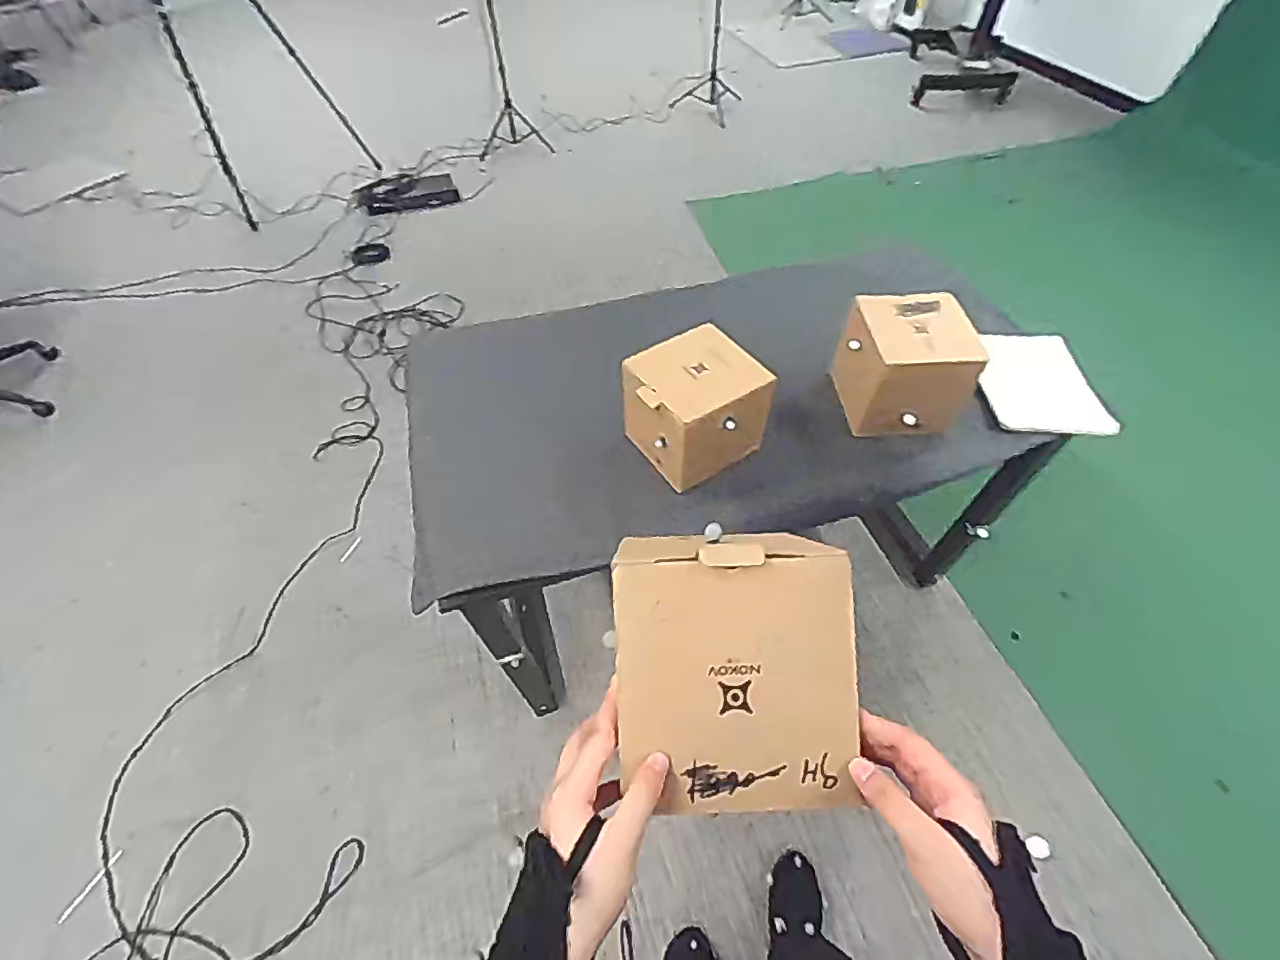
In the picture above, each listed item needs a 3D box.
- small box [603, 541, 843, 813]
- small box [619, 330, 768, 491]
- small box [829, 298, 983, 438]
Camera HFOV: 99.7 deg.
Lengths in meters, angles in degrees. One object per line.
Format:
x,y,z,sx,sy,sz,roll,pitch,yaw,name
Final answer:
0.057,0.145,0.461,0.168,0.176,0.179,-4,89,0,small box
0.084,-0.111,0.896,0.179,0.176,0.168,-28,58,-20,small box
0.445,-0.192,0.940,0.168,0.176,0.179,-3,53,0,small box
